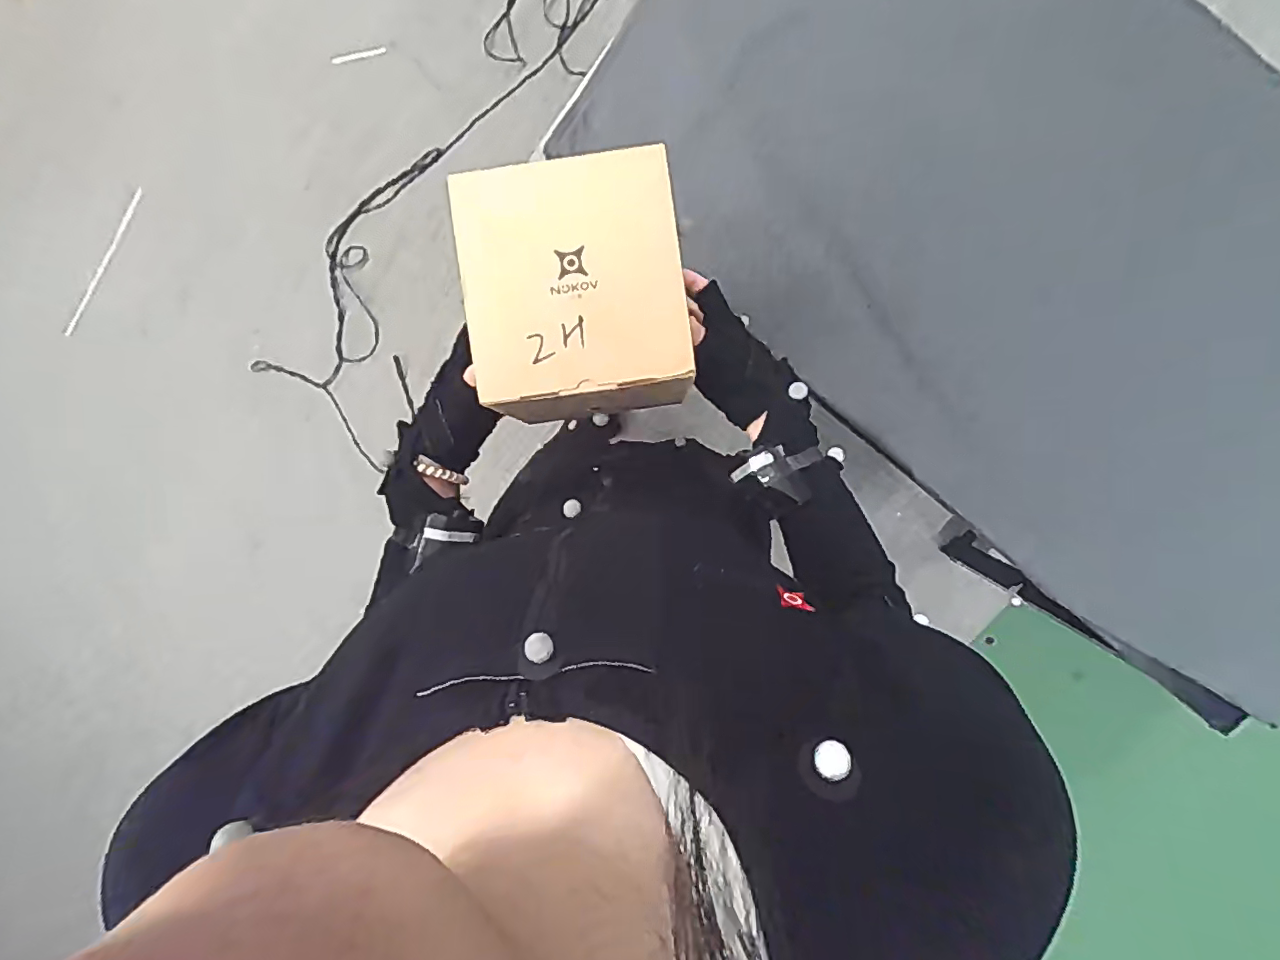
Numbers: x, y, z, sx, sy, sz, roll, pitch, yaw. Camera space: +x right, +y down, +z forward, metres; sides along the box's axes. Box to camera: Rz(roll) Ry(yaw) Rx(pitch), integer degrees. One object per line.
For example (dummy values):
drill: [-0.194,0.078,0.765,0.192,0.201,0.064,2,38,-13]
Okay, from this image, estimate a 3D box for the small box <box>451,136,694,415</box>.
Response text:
small box: [-0.050,-0.161,0.480,0.168,0.176,0.179,-7,91,0]
